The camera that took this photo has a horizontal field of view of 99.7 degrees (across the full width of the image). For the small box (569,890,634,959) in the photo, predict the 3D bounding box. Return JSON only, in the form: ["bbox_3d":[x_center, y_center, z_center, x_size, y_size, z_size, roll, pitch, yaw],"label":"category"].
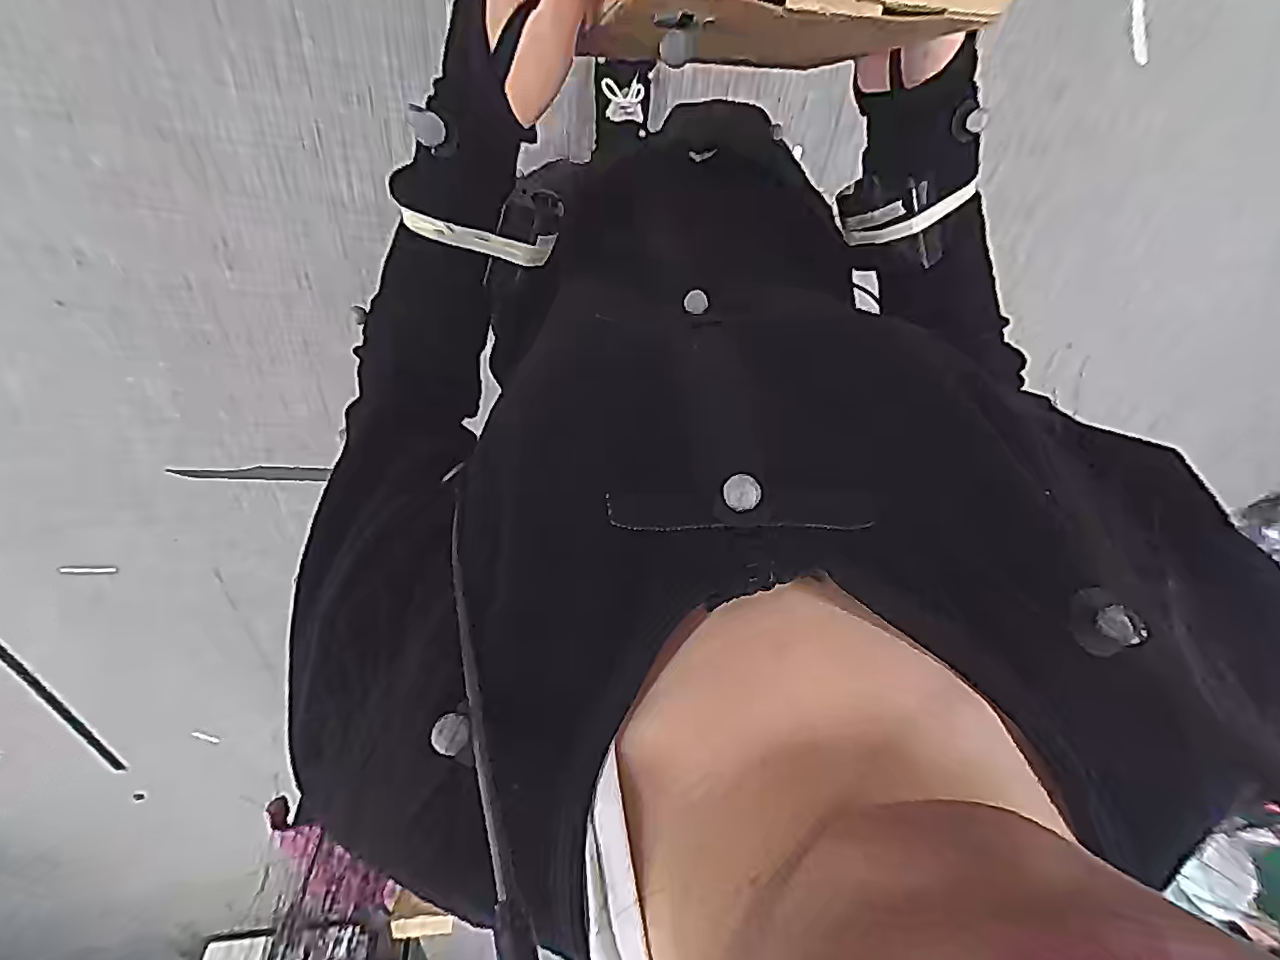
[{"bbox_3d":[-0.117,1.321,1.574,0.168,0.176,0.179,1,130,-11],"label":"small box"}]

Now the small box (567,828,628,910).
[{"bbox_3d":[-0.139,1.213,1.696,0.168,0.176,0.179,2,129,-12],"label":"small box"}]

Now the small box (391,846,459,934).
[{"bbox_3d":[-0.634,1.214,1.607,0.168,0.176,0.179,5,128,-15],"label":"small box"}]
